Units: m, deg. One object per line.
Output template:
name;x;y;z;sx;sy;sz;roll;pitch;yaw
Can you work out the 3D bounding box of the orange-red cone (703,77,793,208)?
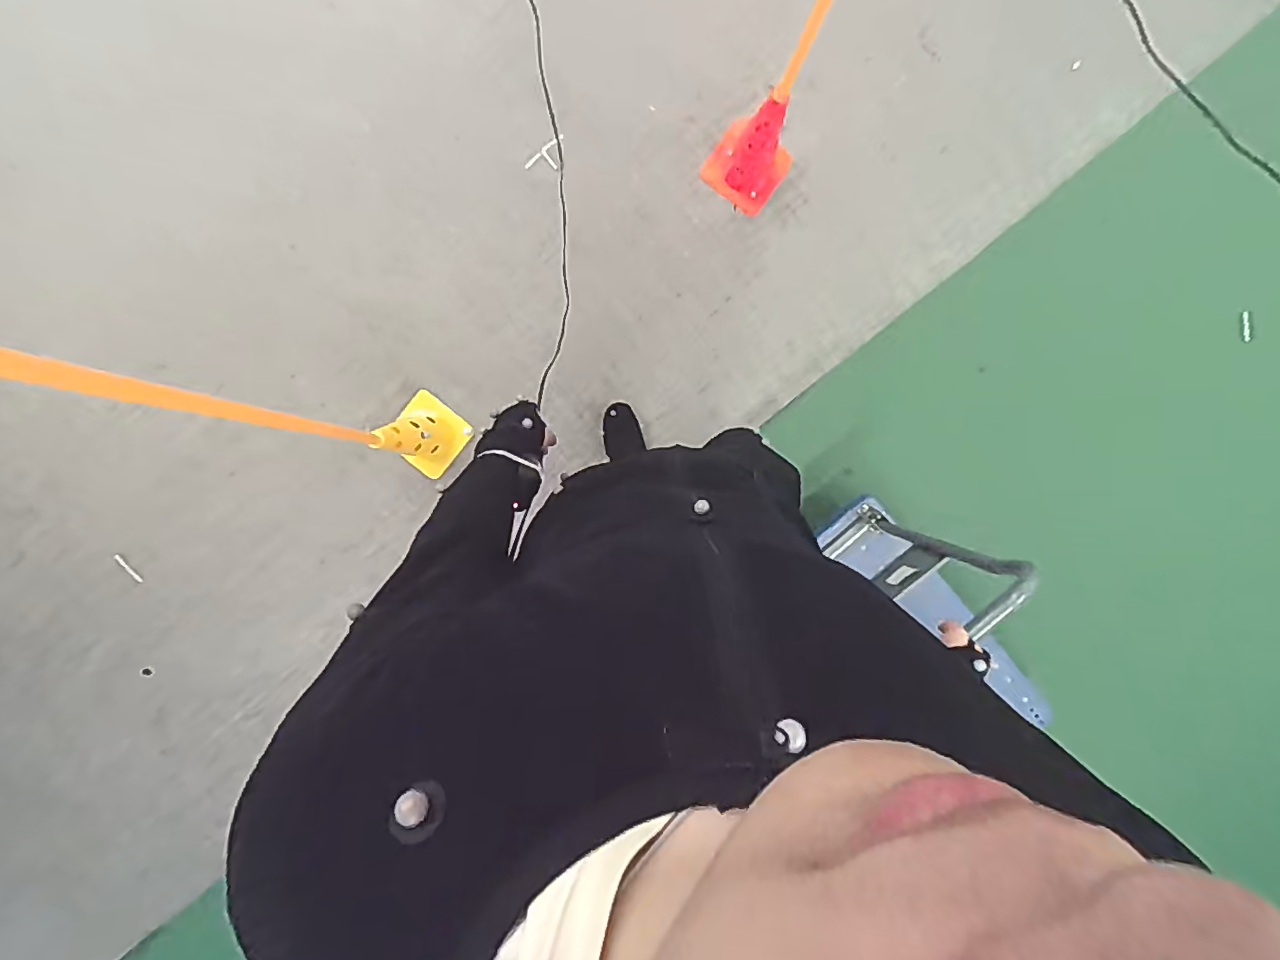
orange-red cone;0.306;-0.869;1.334;0.198;0.360;0.199;36;94;-6
